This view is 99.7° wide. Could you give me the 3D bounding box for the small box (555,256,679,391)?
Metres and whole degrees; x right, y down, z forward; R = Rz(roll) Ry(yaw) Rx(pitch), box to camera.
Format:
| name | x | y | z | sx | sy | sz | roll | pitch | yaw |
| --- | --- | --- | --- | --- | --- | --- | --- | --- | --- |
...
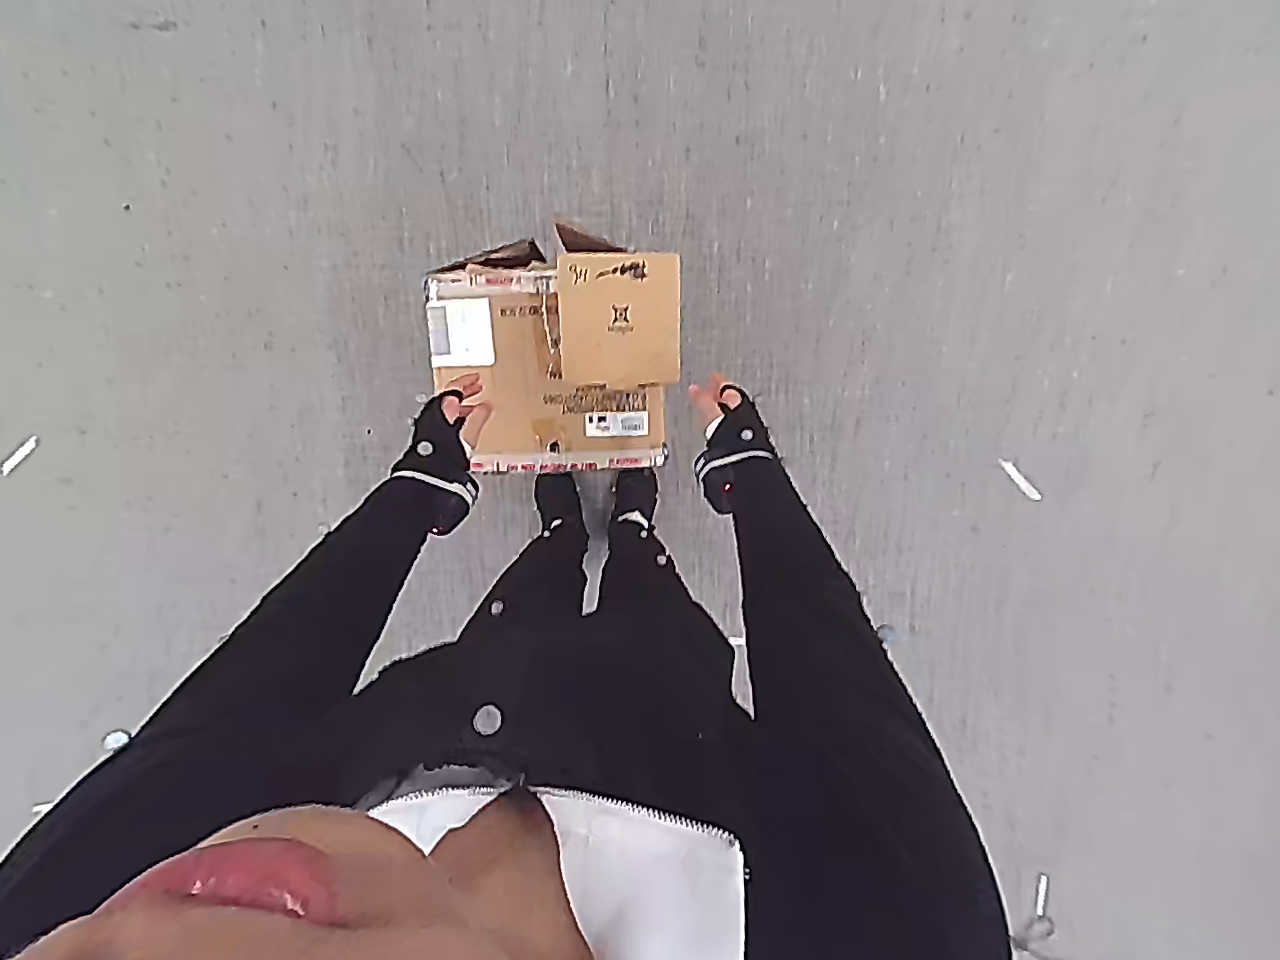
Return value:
| name | x | y | z | sx | sy | sz | roll | pitch | yaw |
| --- | --- | --- | --- | --- | --- | --- | --- | --- | --- |
| small box | -0.033 | -0.227 | 0.805 | 0.168 | 0.176 | 0.179 | -2 | 102 | -4 |
